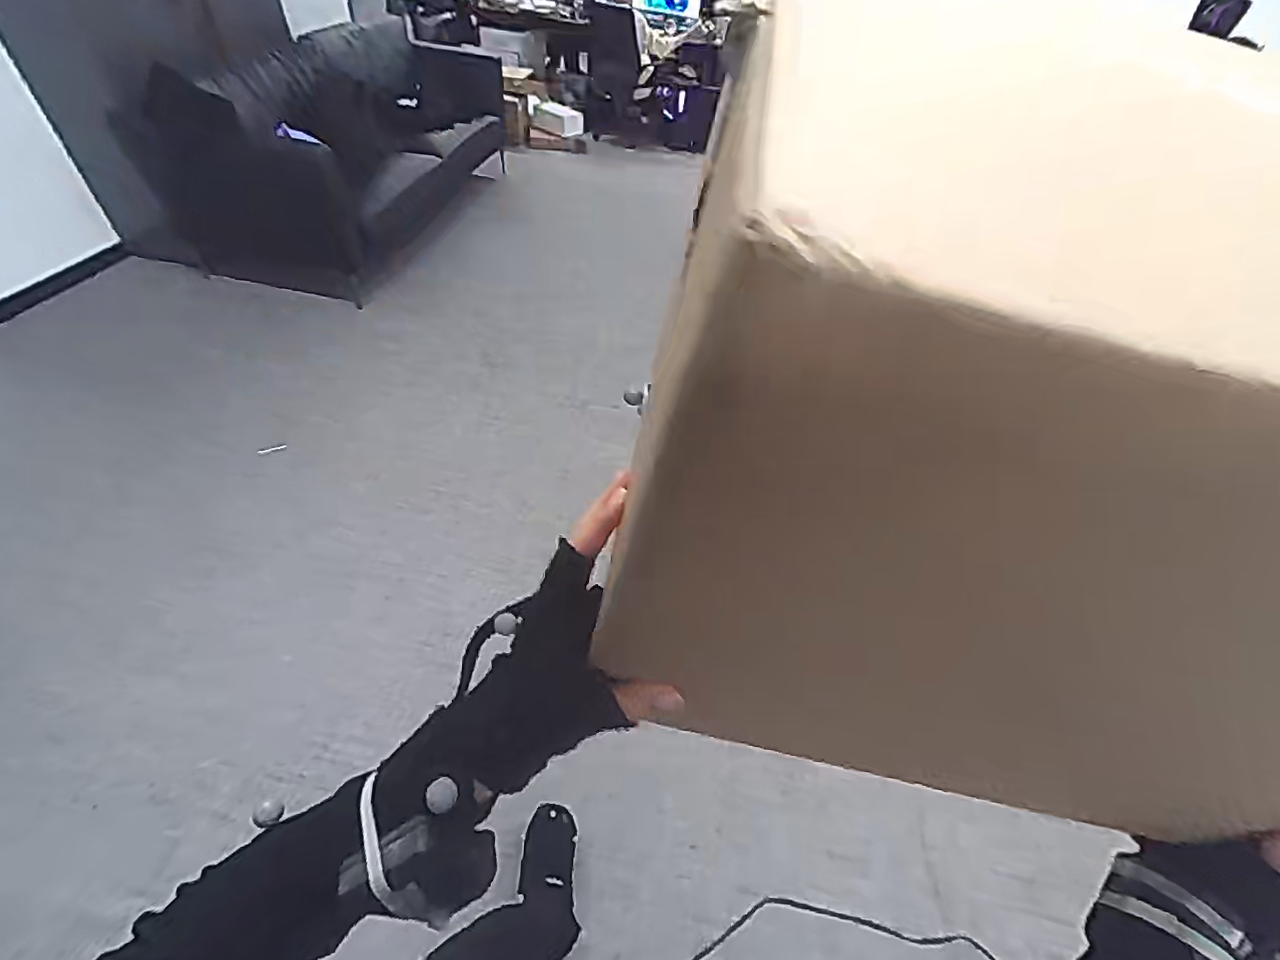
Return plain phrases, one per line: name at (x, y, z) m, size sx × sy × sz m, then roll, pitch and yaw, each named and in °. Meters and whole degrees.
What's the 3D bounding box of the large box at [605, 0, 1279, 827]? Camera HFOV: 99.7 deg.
large box at (0.217, -0.019, 0.318) m, size 0.408 × 0.320 × 0.320 m, roll 14°, pitch 53°, yaw -4°
